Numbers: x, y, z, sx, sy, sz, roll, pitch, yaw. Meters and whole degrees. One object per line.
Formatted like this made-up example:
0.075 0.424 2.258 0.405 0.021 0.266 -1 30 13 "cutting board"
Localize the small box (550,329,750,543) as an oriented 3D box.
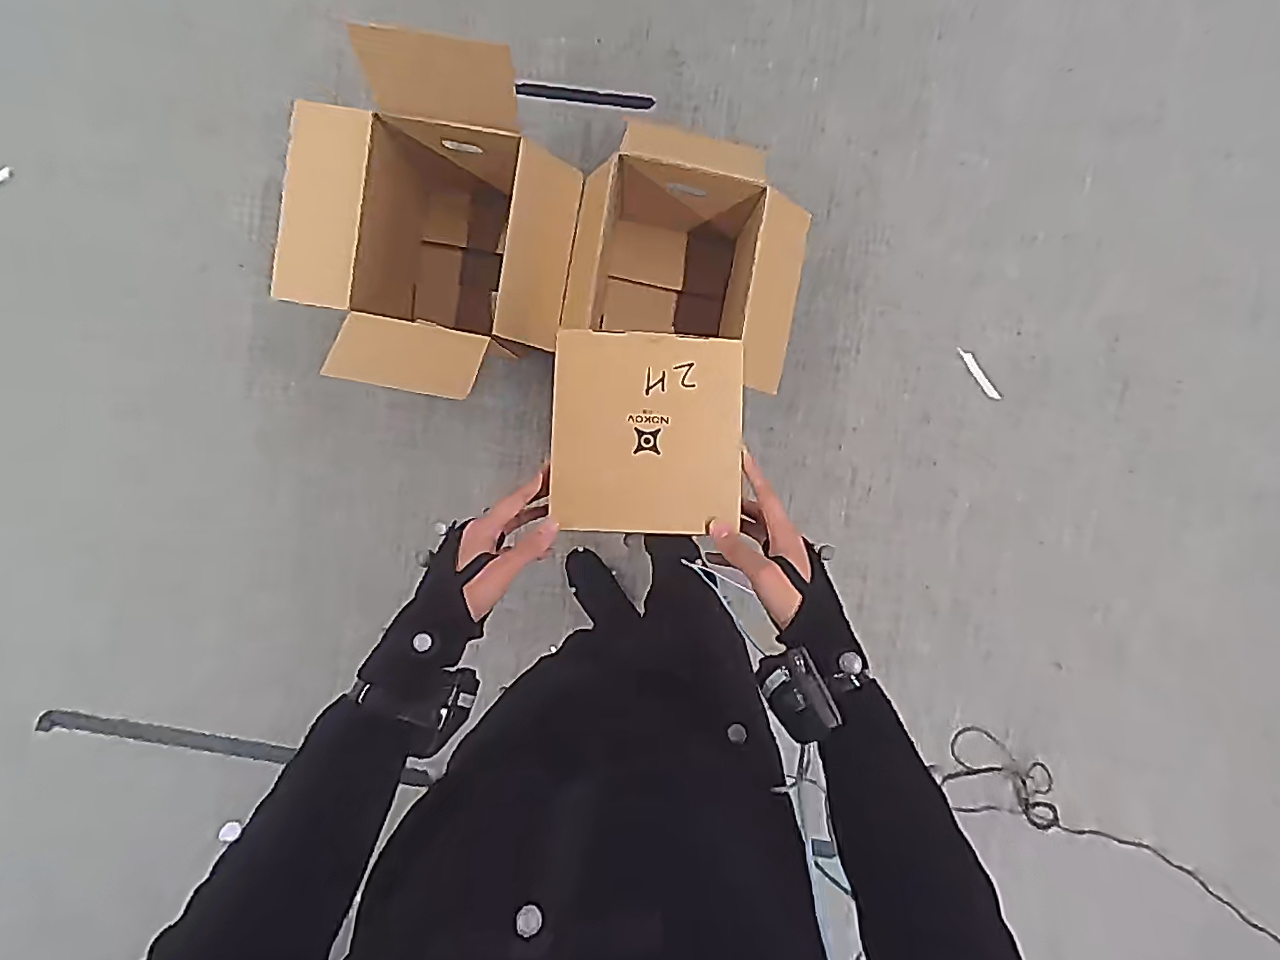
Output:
0.003 -0.033 0.536 0.168 0.176 0.179 3 86 -6 "small box"
